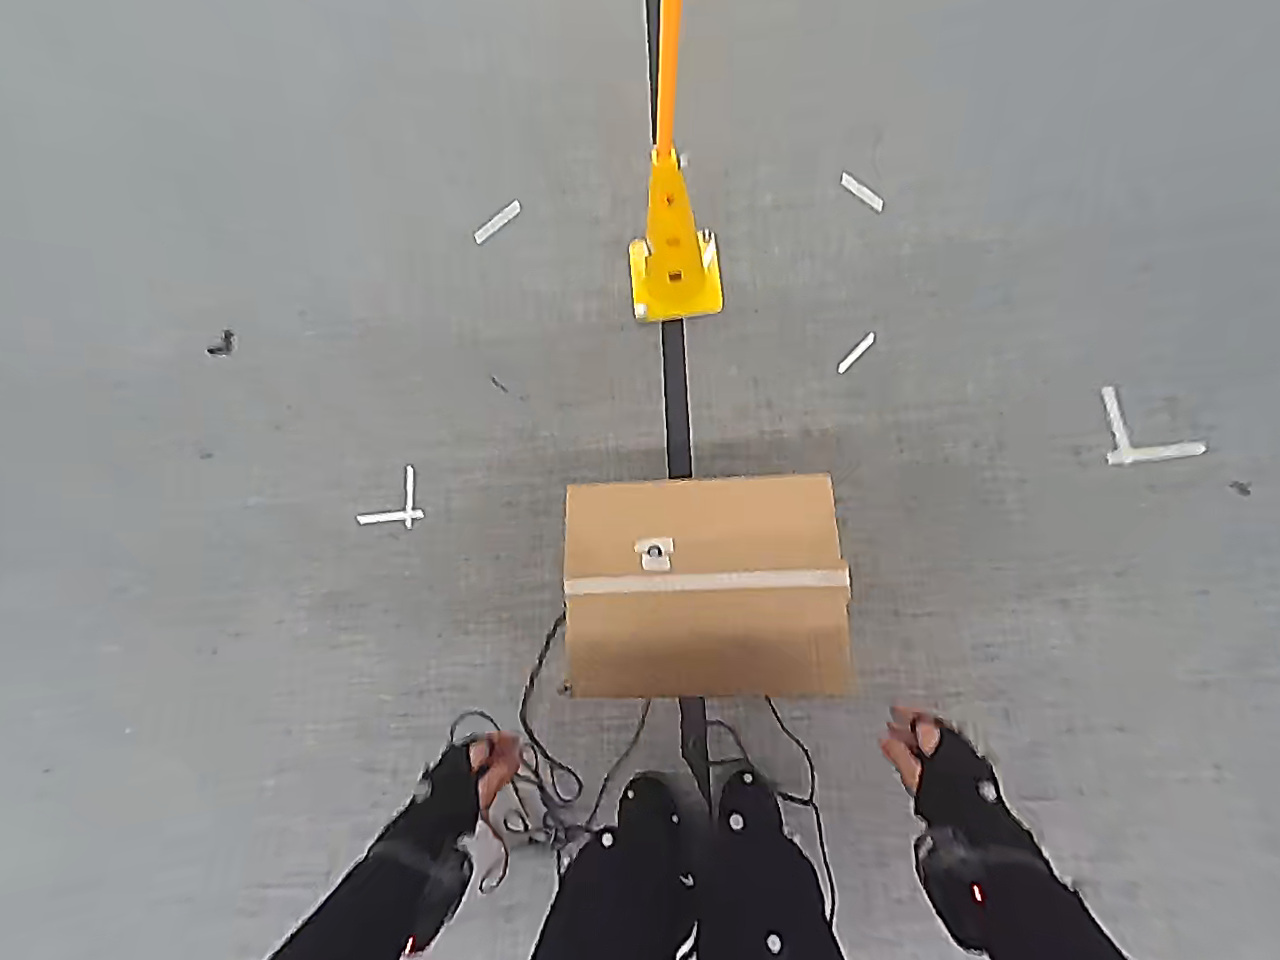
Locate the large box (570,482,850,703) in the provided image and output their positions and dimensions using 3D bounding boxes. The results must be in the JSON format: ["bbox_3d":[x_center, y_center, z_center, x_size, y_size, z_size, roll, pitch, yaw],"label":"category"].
[{"bbox_3d":[0.108,0.201,0.951,0.408,0.320,0.320,-3,74,5],"label":"large box"}]
